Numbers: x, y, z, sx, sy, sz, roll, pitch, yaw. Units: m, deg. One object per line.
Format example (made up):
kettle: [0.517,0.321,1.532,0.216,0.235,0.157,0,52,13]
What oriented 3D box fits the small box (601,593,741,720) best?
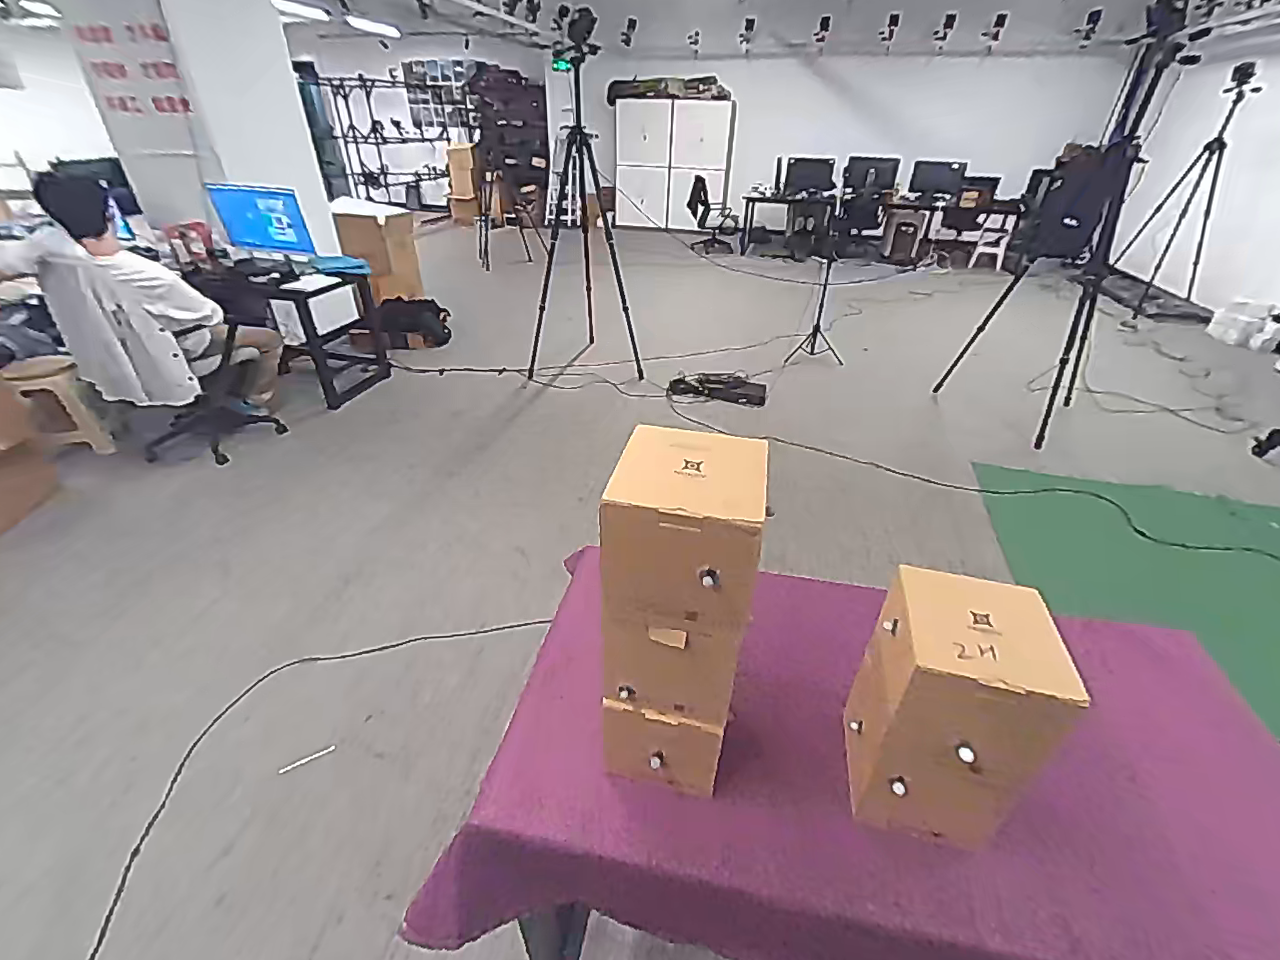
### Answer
small box: [0.053,0.190,0.732,0.168,0.176,0.179,10,34,12]

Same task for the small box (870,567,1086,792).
small box: [0.394,0.242,0.673,0.168,0.176,0.179,11,35,13]

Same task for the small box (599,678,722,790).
small box: [0.044,0.330,0.818,0.168,0.176,0.179,10,35,11]

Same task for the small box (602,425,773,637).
small box: [0.058,0.056,0.639,0.168,0.176,0.179,10,34,10]
